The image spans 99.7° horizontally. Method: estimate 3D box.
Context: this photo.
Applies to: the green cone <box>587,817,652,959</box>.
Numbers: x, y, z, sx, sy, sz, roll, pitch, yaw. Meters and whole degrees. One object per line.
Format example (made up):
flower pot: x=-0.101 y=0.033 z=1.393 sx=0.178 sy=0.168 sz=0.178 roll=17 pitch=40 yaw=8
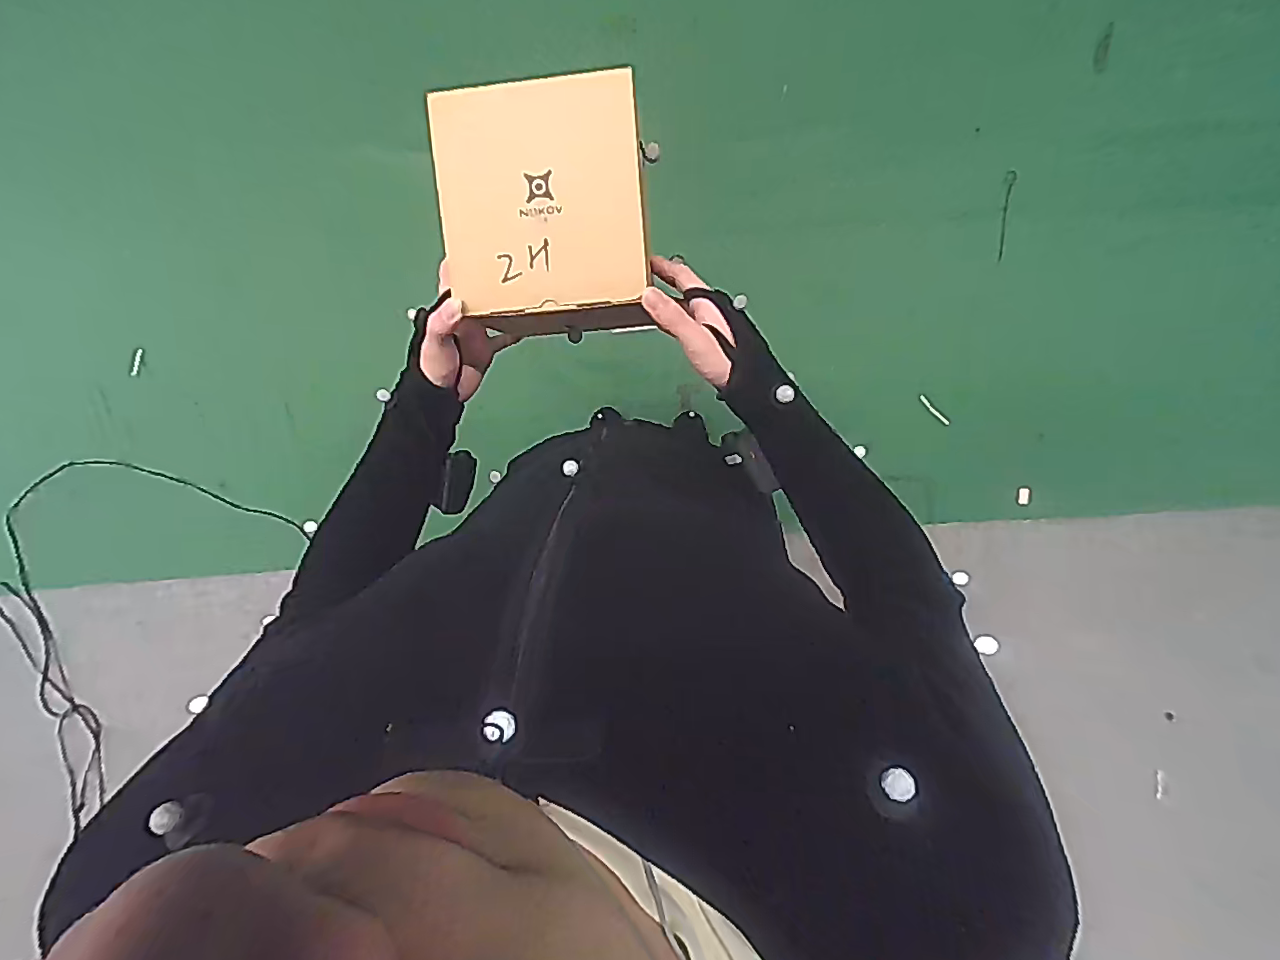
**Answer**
green cone: x=-0.073 y=1.189 z=1.558 sx=0.202 sy=0.368 sz=0.200 roll=-4 pitch=96 yaw=3
